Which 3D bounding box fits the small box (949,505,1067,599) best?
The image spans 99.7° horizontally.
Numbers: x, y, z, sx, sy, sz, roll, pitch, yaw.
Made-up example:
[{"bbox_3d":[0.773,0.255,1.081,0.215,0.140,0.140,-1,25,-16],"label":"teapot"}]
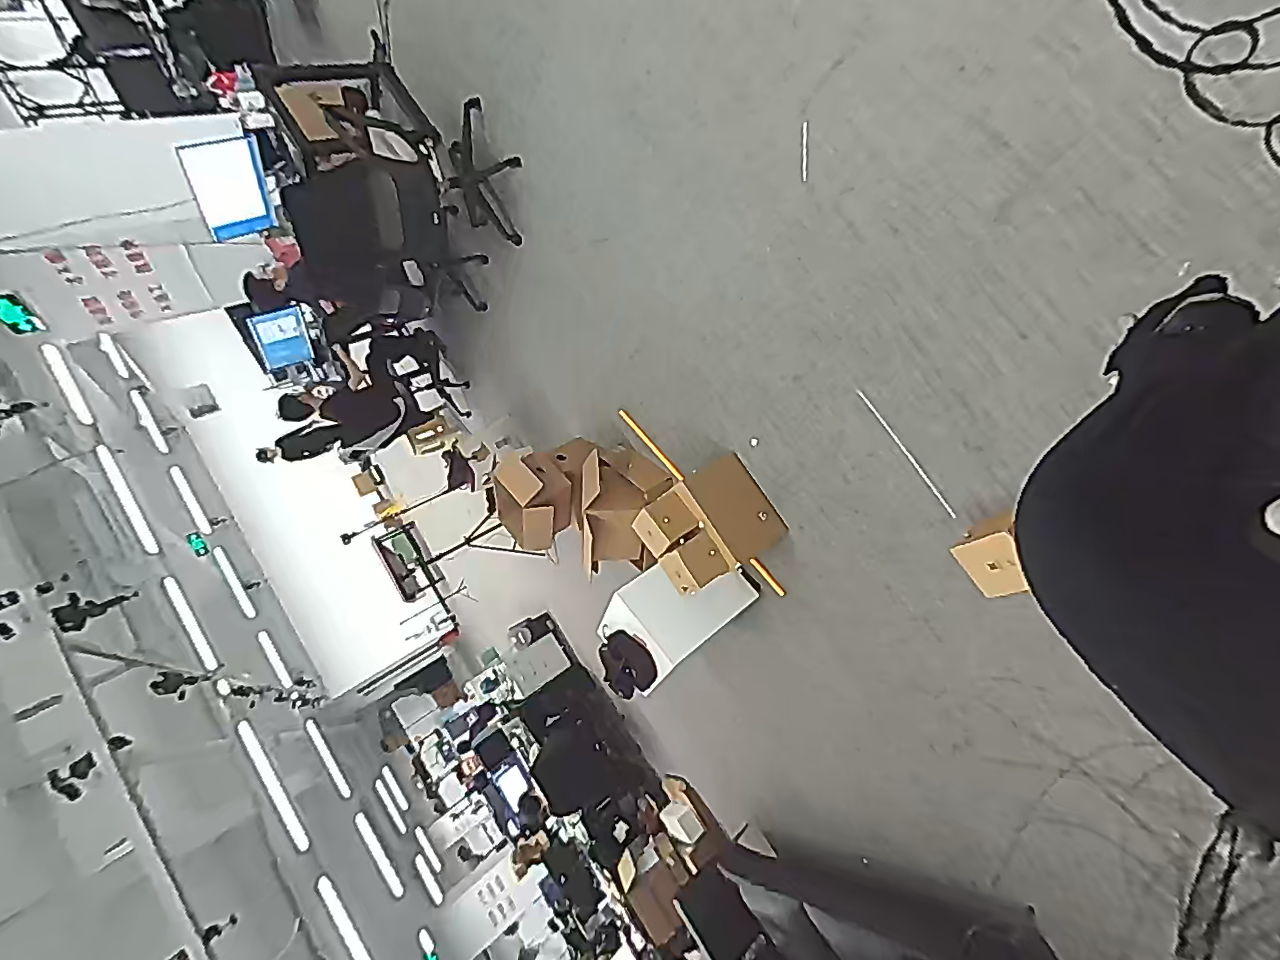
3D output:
[{"bbox_3d":[0.992,0.193,1.458,0.168,0.176,0.179,55,149,8],"label":"small box"}]
